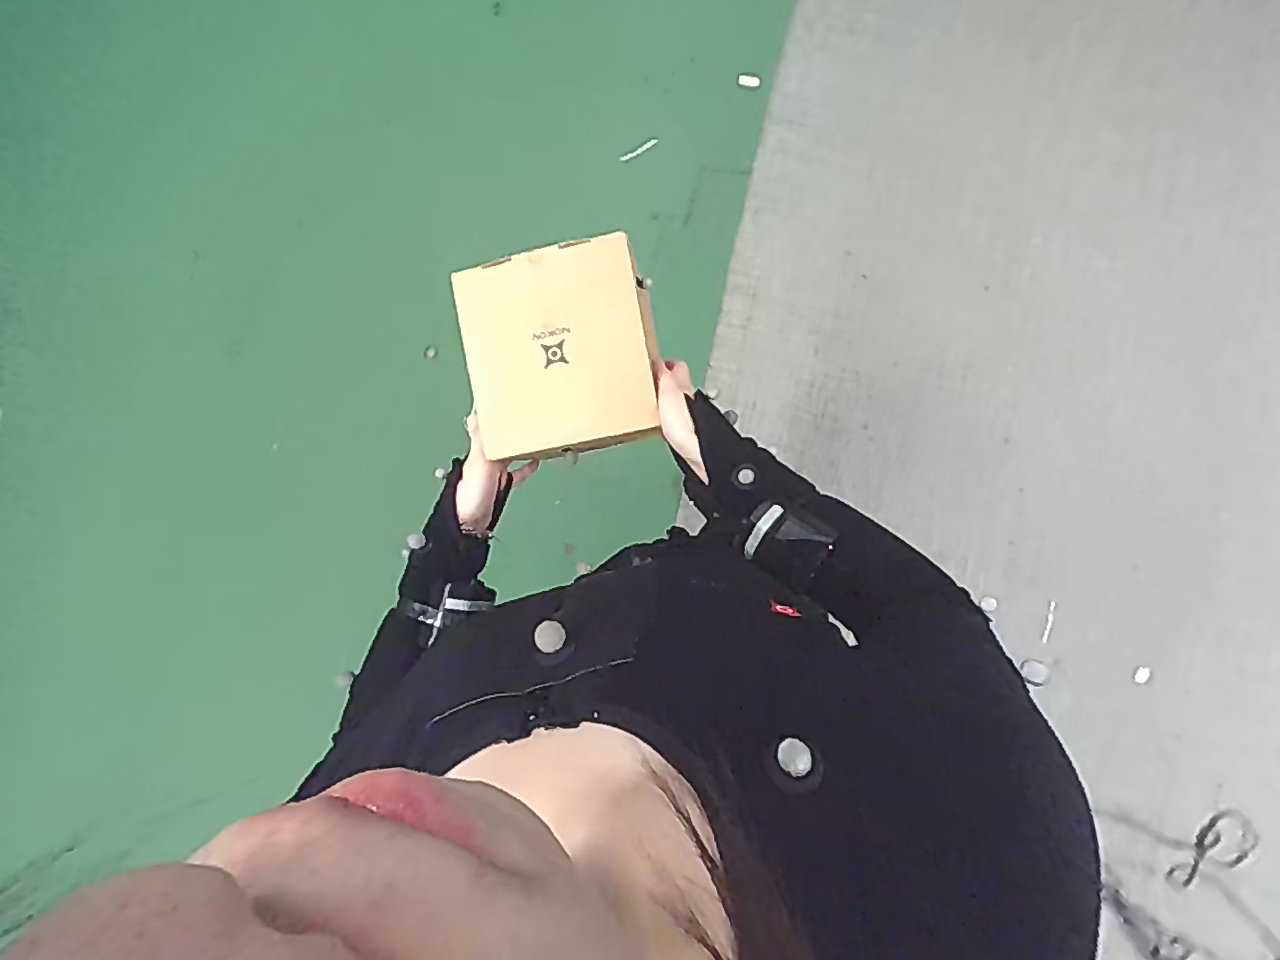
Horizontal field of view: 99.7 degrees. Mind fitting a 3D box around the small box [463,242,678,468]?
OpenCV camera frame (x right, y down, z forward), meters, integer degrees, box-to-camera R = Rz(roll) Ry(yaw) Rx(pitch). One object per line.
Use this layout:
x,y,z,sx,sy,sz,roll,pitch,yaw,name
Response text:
-0.057,-0.112,0.560,0.168,0.176,0.179,-10,90,8,small box
